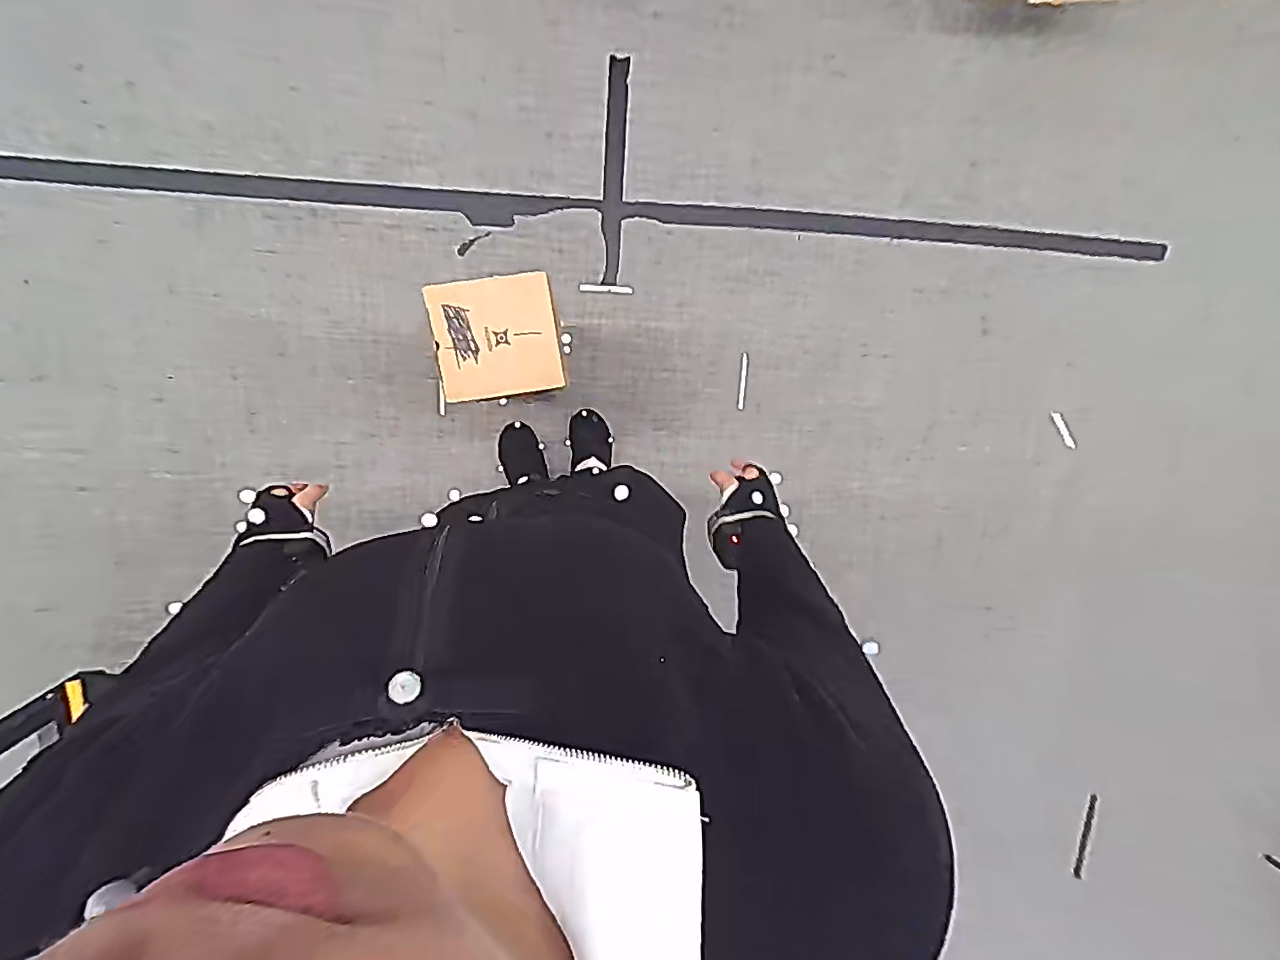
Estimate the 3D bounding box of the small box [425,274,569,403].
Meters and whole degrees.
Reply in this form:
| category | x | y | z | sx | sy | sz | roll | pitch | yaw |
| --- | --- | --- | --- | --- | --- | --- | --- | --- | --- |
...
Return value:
| category | x | y | z | sx | sy | sz | roll | pitch | yaw |
| --- | --- | --- | --- | --- | --- | --- | --- | --- | --- |
| small box | -0.212 | -0.214 | 0.848 | 0.179 | 0.176 | 0.168 | -9 | 101 | -4 |

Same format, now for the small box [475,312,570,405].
| category | x | y | z | sx | sy | sz | roll | pitch | yaw |
| --- | --- | --- | --- | --- | --- | --- | --- | --- | --- |
| small box | -0.225 | -0.242 | 1.011 | 0.168 | 0.176 | 0.179 | -8 | 102 | -4 |
